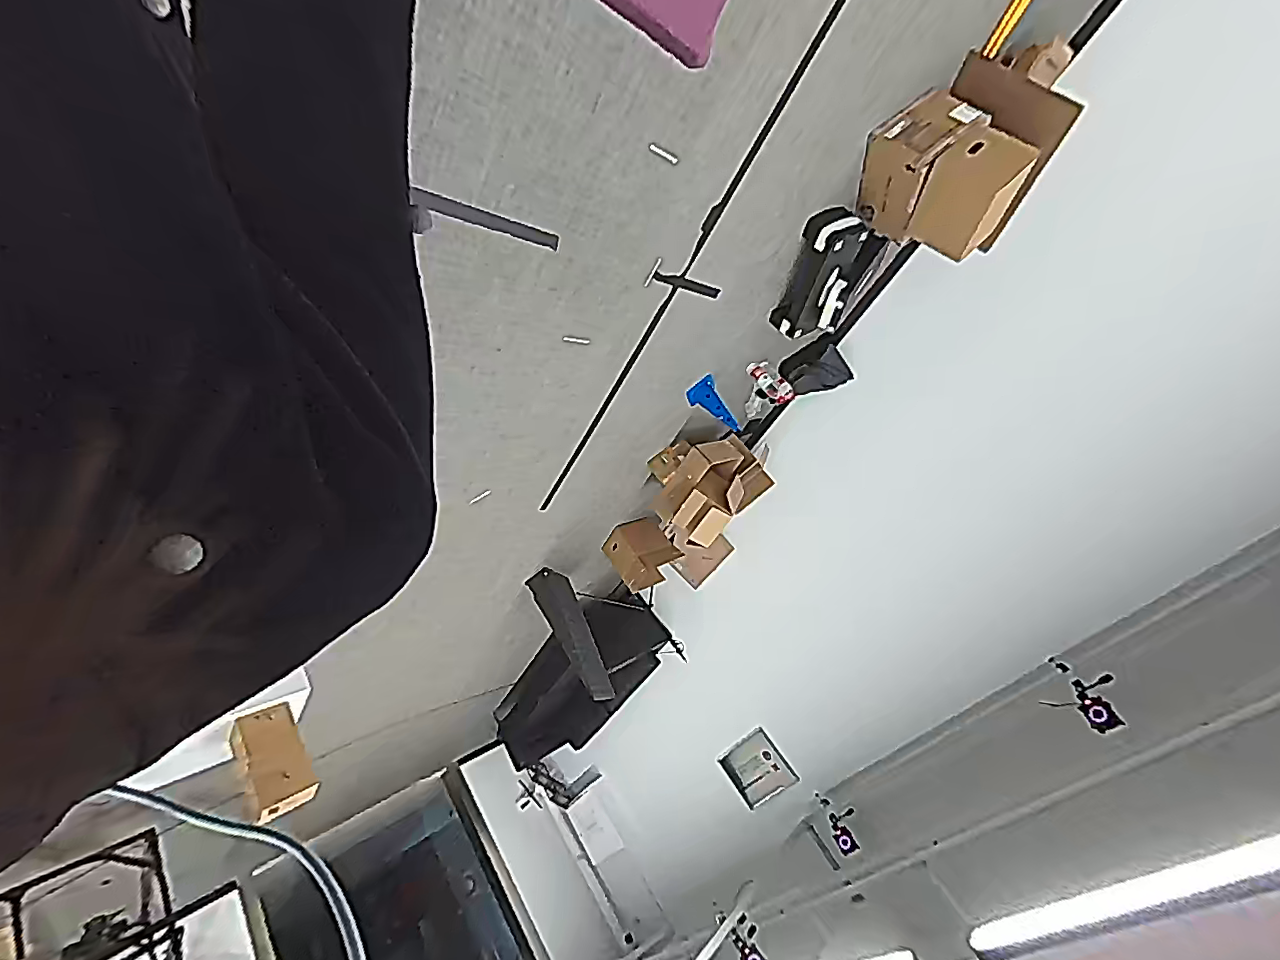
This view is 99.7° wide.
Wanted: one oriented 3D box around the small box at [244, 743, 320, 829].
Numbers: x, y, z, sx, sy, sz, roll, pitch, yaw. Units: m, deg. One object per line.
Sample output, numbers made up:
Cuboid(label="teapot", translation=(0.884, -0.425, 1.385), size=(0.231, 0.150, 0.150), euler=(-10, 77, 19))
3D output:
Cuboid(label="small box", translation=(-1.260, 1.067, 1.893), size=(0.179, 0.176, 0.168), euler=(-13, 147, -49))

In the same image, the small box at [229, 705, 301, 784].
Cuboid(label="small box", translation=(-1.359, 0.950, 1.953), size=(0.168, 0.176, 0.179), euler=(-7, 142, -51))
